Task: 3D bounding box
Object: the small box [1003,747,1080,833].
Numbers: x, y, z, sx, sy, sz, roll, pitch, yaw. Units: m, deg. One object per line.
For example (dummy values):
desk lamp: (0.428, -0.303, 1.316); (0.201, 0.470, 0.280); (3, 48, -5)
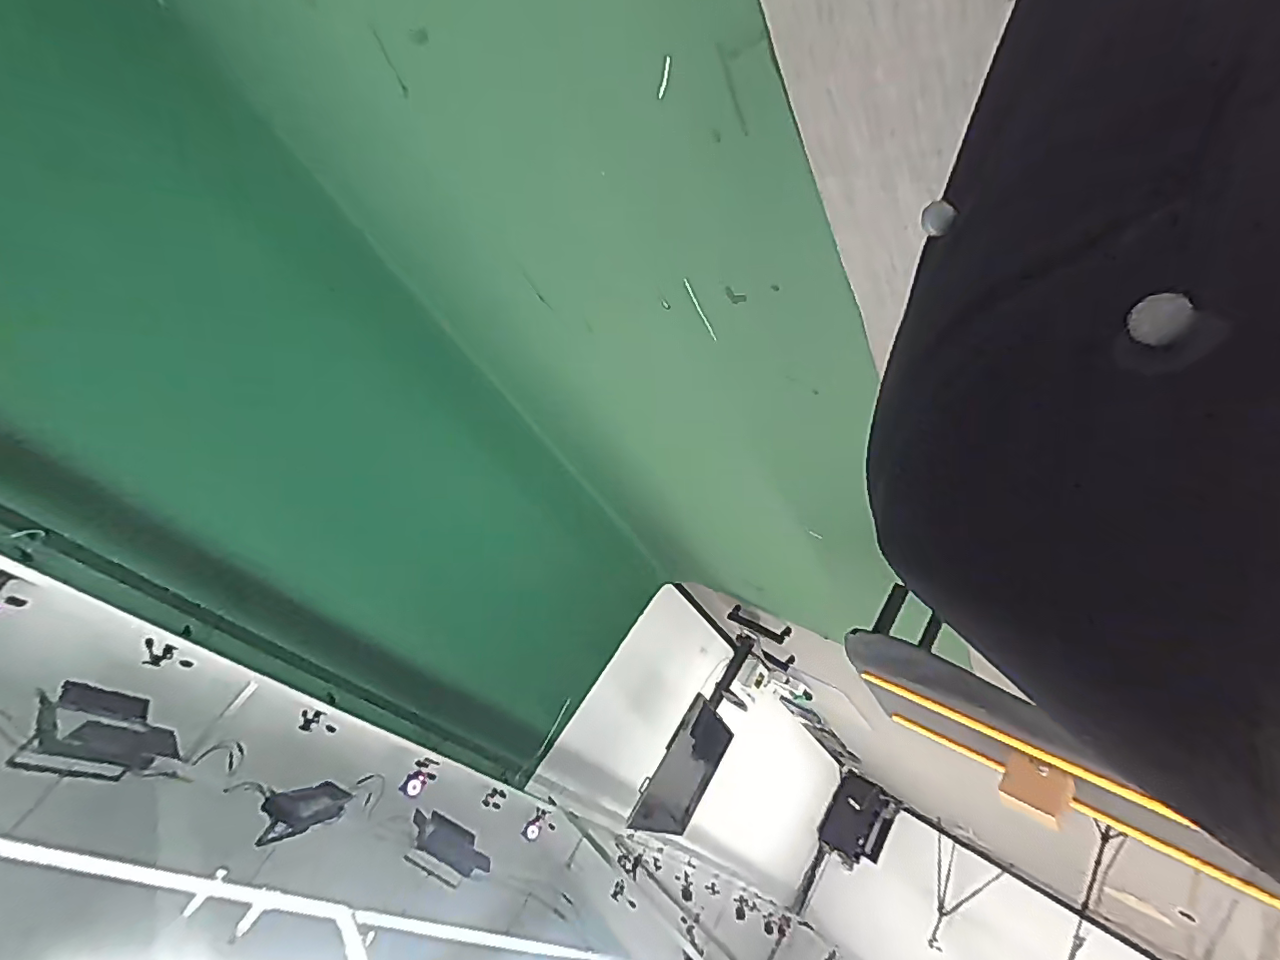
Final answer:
small box: (1.359, 1.040, 1.823); (0.168, 0.176, 0.179); (11, 147, 49)
